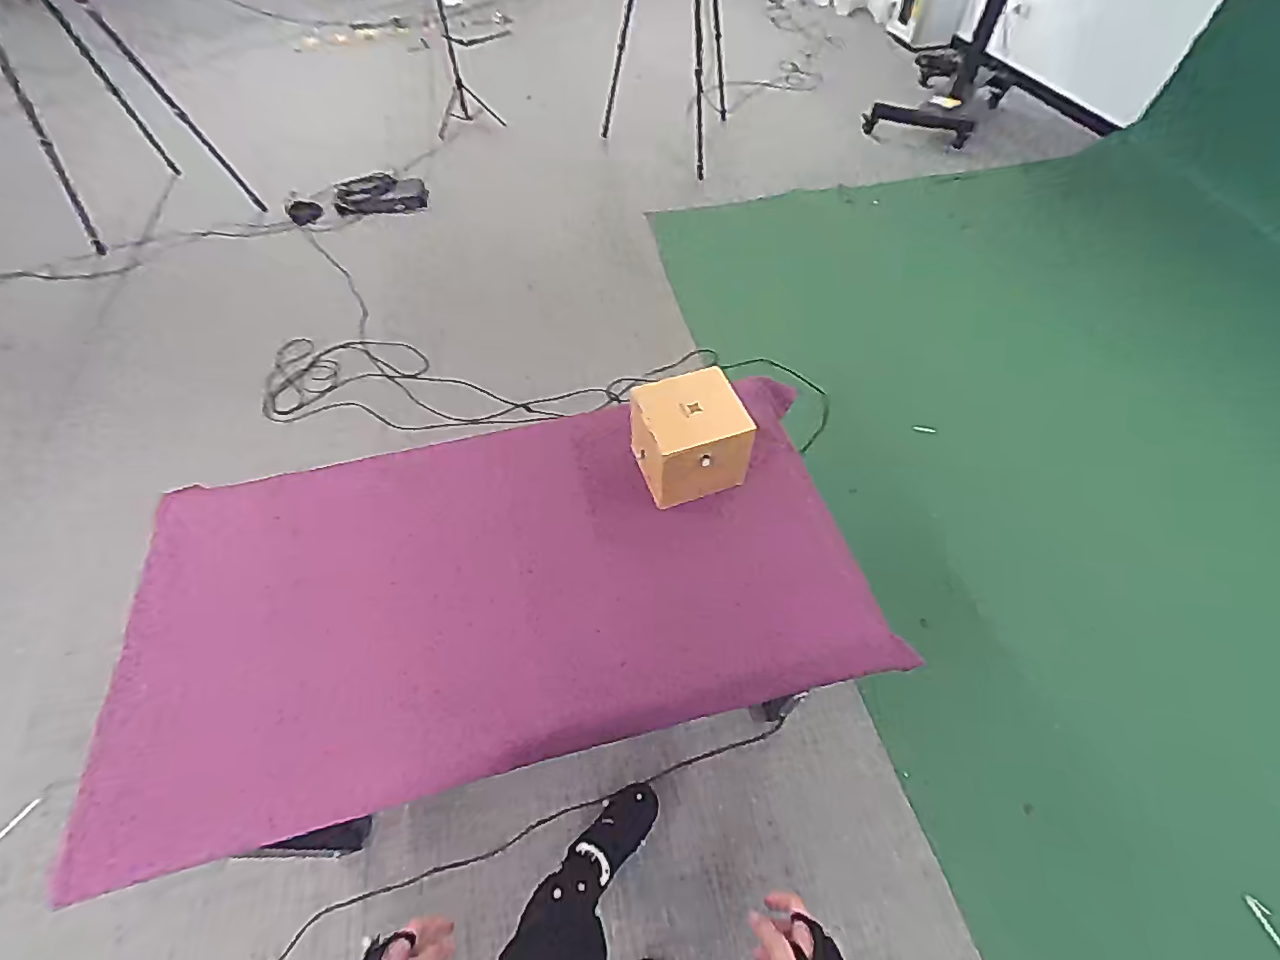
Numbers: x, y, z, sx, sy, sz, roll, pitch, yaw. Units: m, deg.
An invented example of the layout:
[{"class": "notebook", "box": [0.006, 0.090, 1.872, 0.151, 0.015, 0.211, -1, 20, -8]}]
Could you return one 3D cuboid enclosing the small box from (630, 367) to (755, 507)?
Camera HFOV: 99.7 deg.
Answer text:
[{"class": "small box", "box": [0.089, -0.076, 1.002, 0.179, 0.176, 0.168, -18, 57, -9]}]
